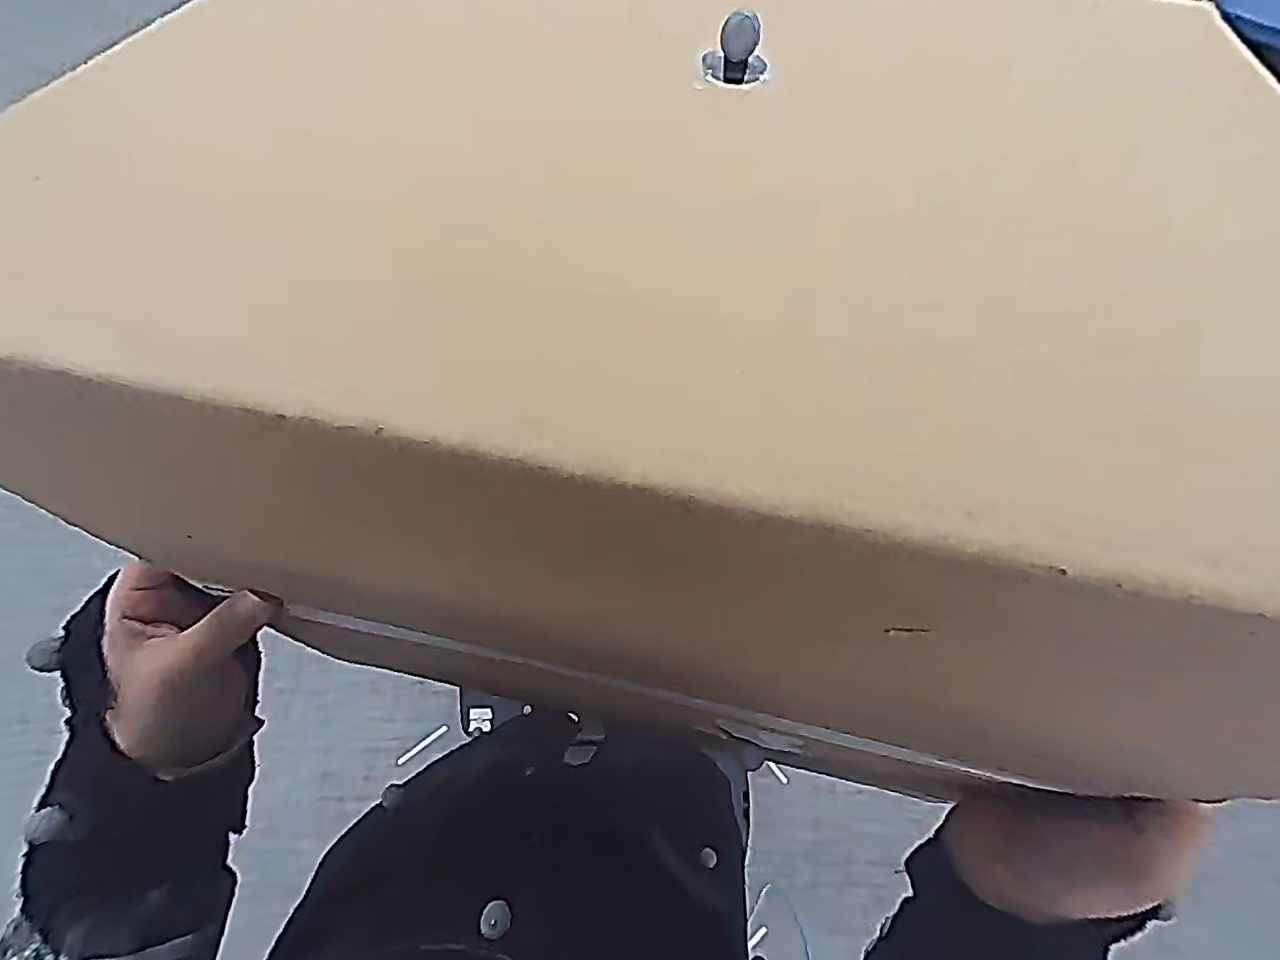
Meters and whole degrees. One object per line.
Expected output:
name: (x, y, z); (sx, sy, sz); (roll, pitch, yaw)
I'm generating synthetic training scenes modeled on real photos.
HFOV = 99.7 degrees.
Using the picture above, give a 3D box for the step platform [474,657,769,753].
step platform: (-0.034, 0.438, 1.274); (0.684, 0.204, 0.286); (8, 78, -1)
